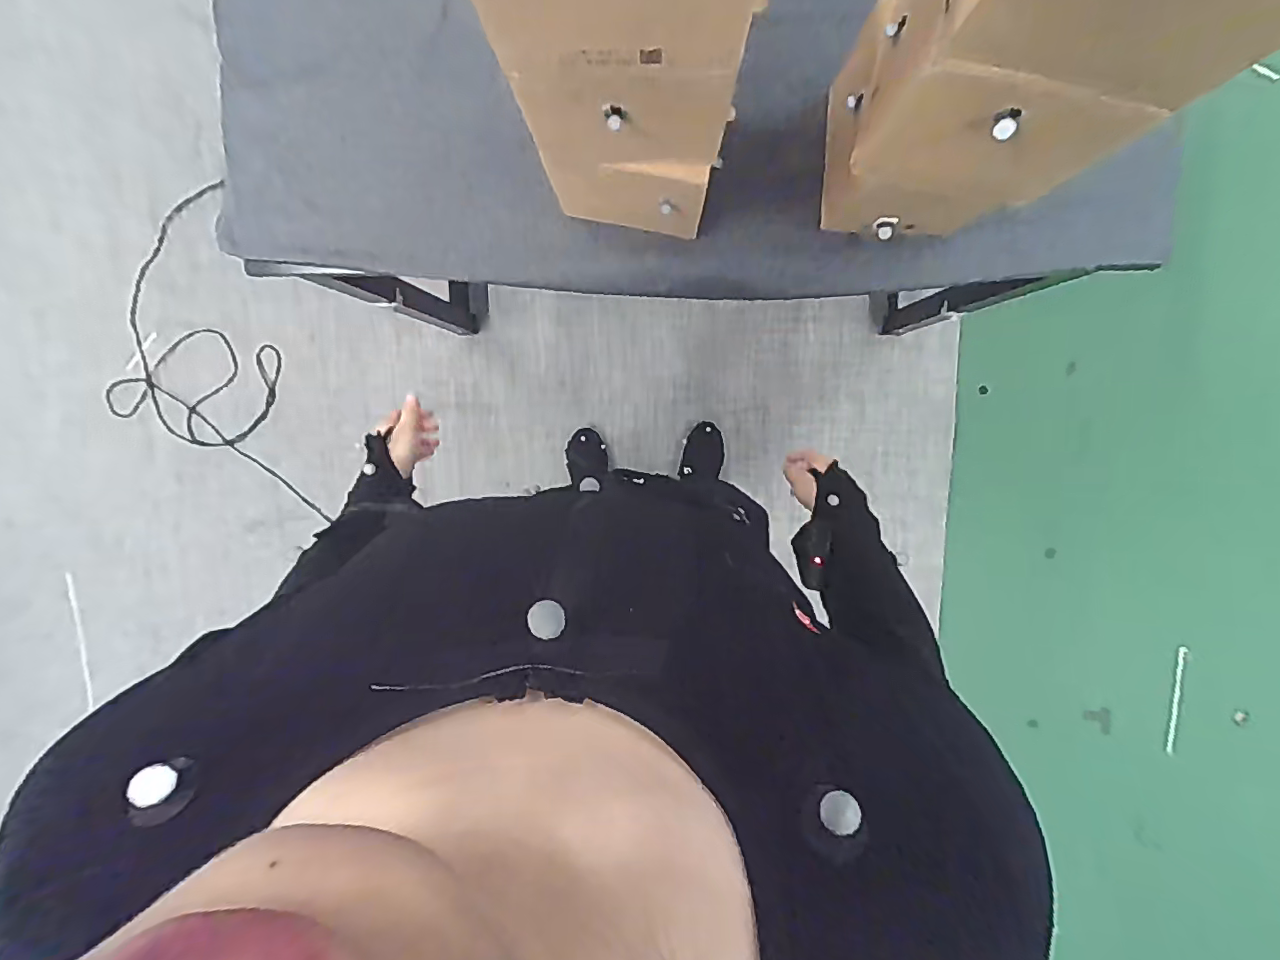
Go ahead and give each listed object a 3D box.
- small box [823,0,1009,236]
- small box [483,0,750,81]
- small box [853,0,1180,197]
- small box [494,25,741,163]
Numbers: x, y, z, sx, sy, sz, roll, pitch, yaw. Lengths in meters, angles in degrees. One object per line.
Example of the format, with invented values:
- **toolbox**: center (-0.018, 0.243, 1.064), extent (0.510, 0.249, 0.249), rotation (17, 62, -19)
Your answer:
- **small box**: center (0.312, -0.392, 0.603), extent (0.168, 0.176, 0.179), rotation (2, 97, 3)
- **small box**: center (-0.016, -0.359, 0.288), extent (0.168, 0.176, 0.179), rotation (1, 96, 1)
- **small box**: center (0.305, -0.358, 0.444), extent (0.179, 0.176, 0.168), rotation (12, 97, 2)
- **small box**: center (-0.012, -0.388, 0.450), extent (0.179, 0.176, 0.168), rotation (2, 97, 2)
